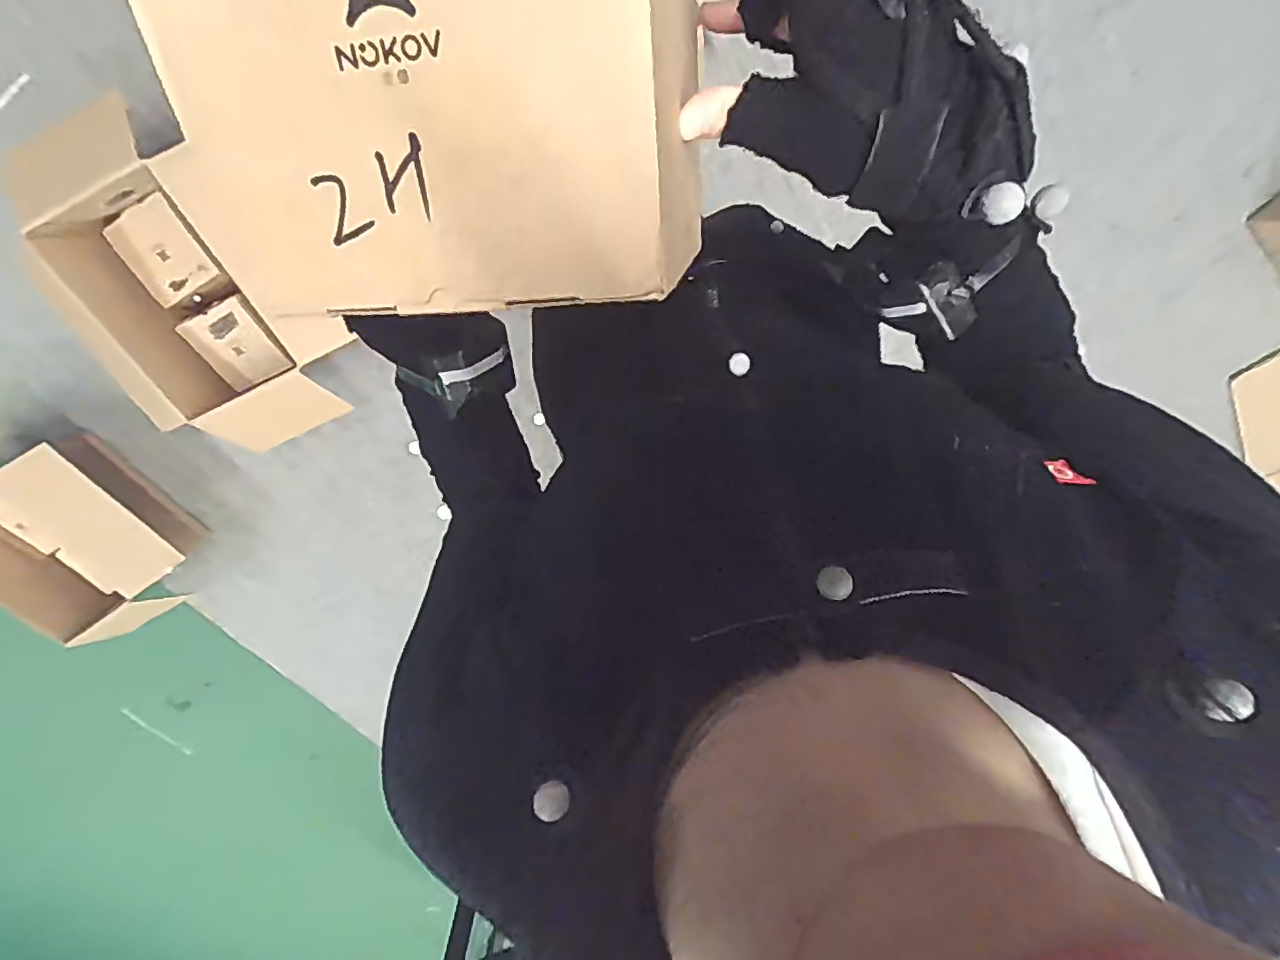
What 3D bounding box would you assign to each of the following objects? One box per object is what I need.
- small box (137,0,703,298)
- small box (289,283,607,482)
[{"bbox_3d":[-0.063,-0.184,0.227,0.168,0.176,0.179,1,119,11],"label":"small box"},{"bbox_3d":[-0.141,-0.120,0.445,0.176,0.168,0.179,18,78,6],"label":"small box"}]
